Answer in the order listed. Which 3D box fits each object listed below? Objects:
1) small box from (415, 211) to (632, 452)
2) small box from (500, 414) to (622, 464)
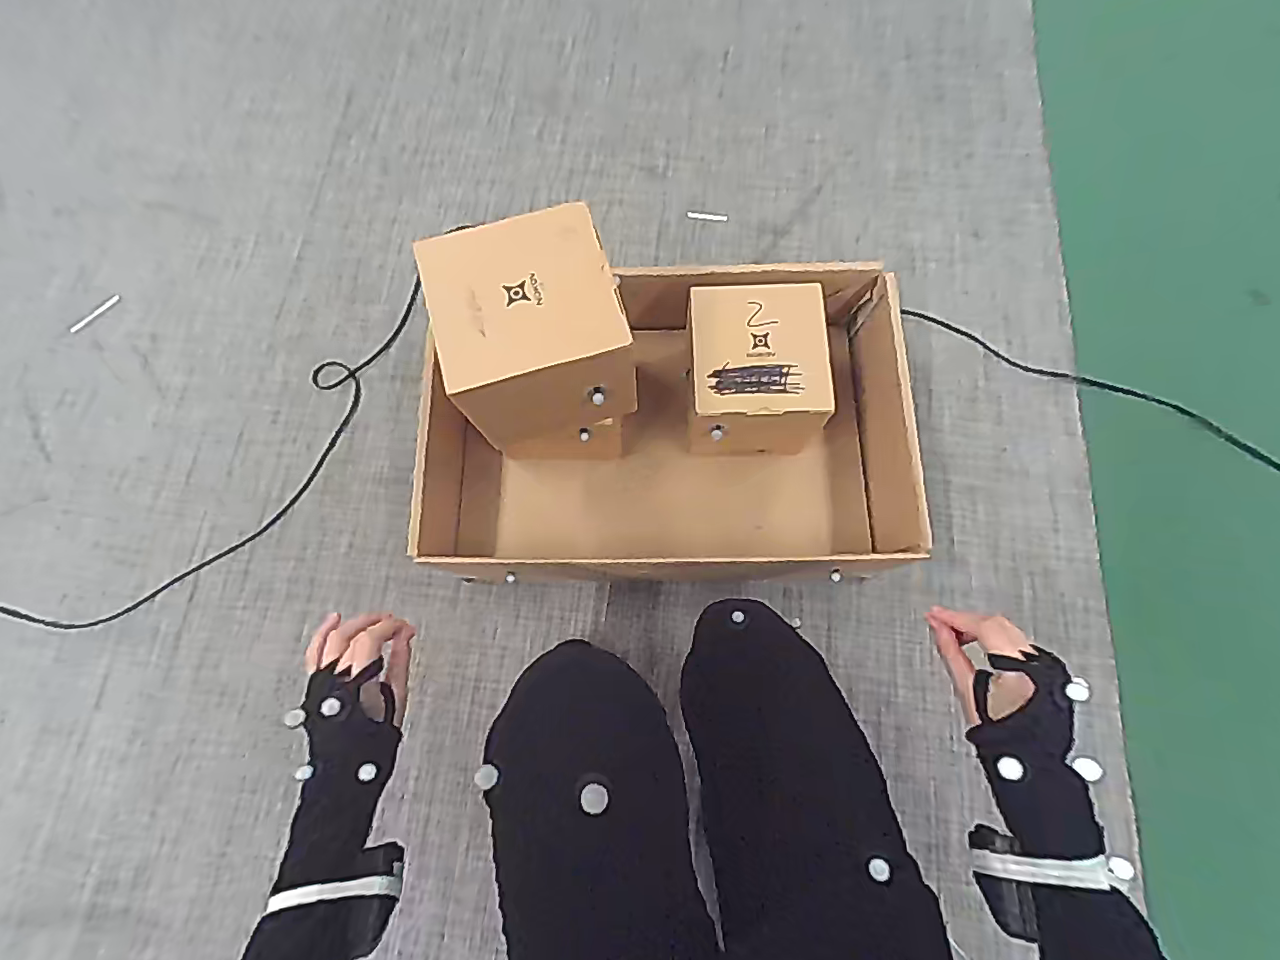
[{"bbox_3d":[-0.111,-0.146,0.582,0.179,0.176,0.168,-16,76,-2],"label":"small box"},{"bbox_3d":[-0.115,-0.122,0.743,0.179,0.176,0.168,0,76,0],"label":"small box"}]
